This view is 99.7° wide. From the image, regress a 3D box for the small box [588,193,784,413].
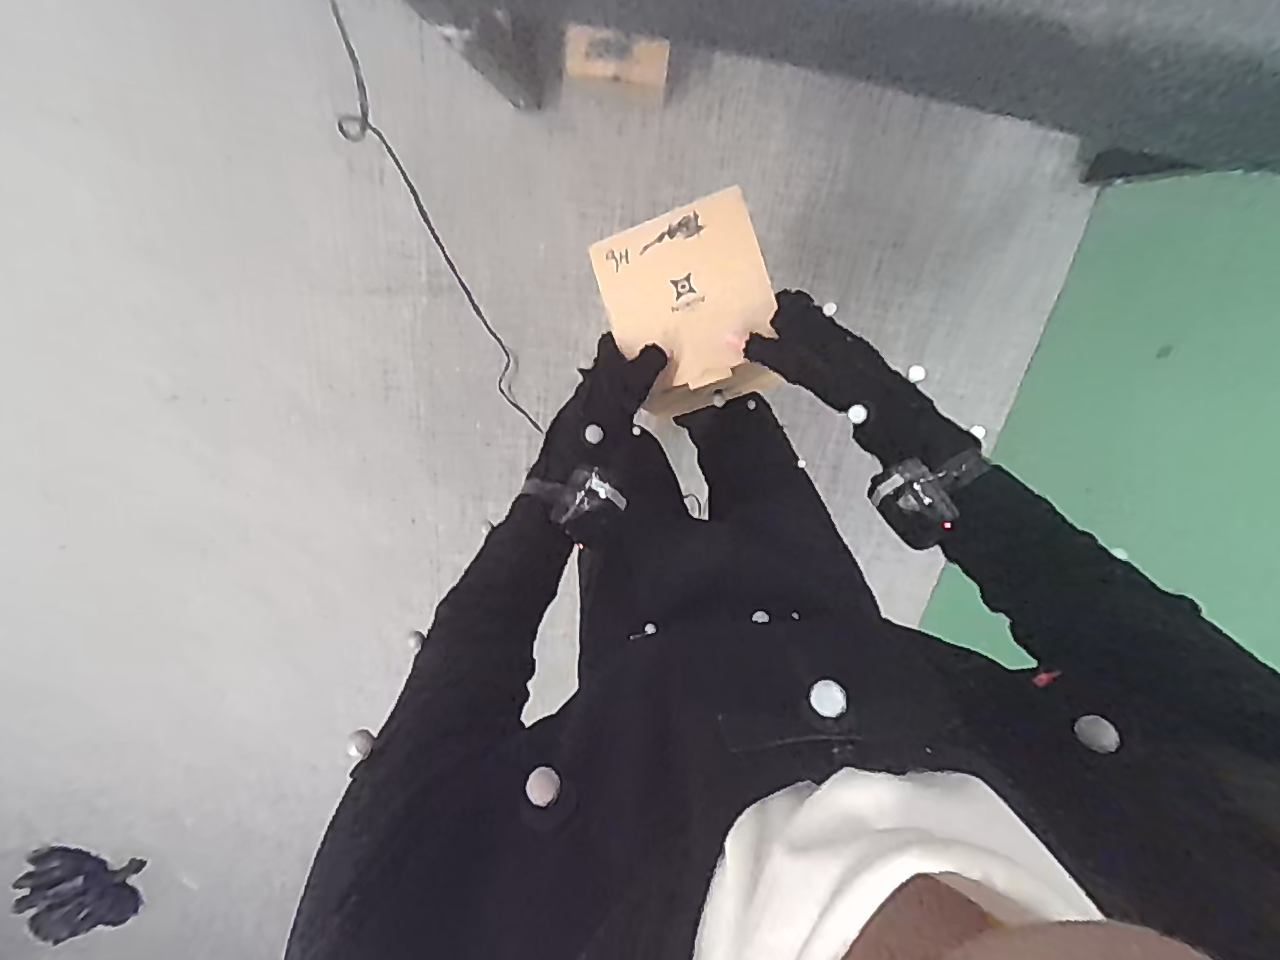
[{"bbox_3d":[0.061,-0.182,0.623,0.168,0.176,0.179,-16,88,12],"label":"small box"}]
